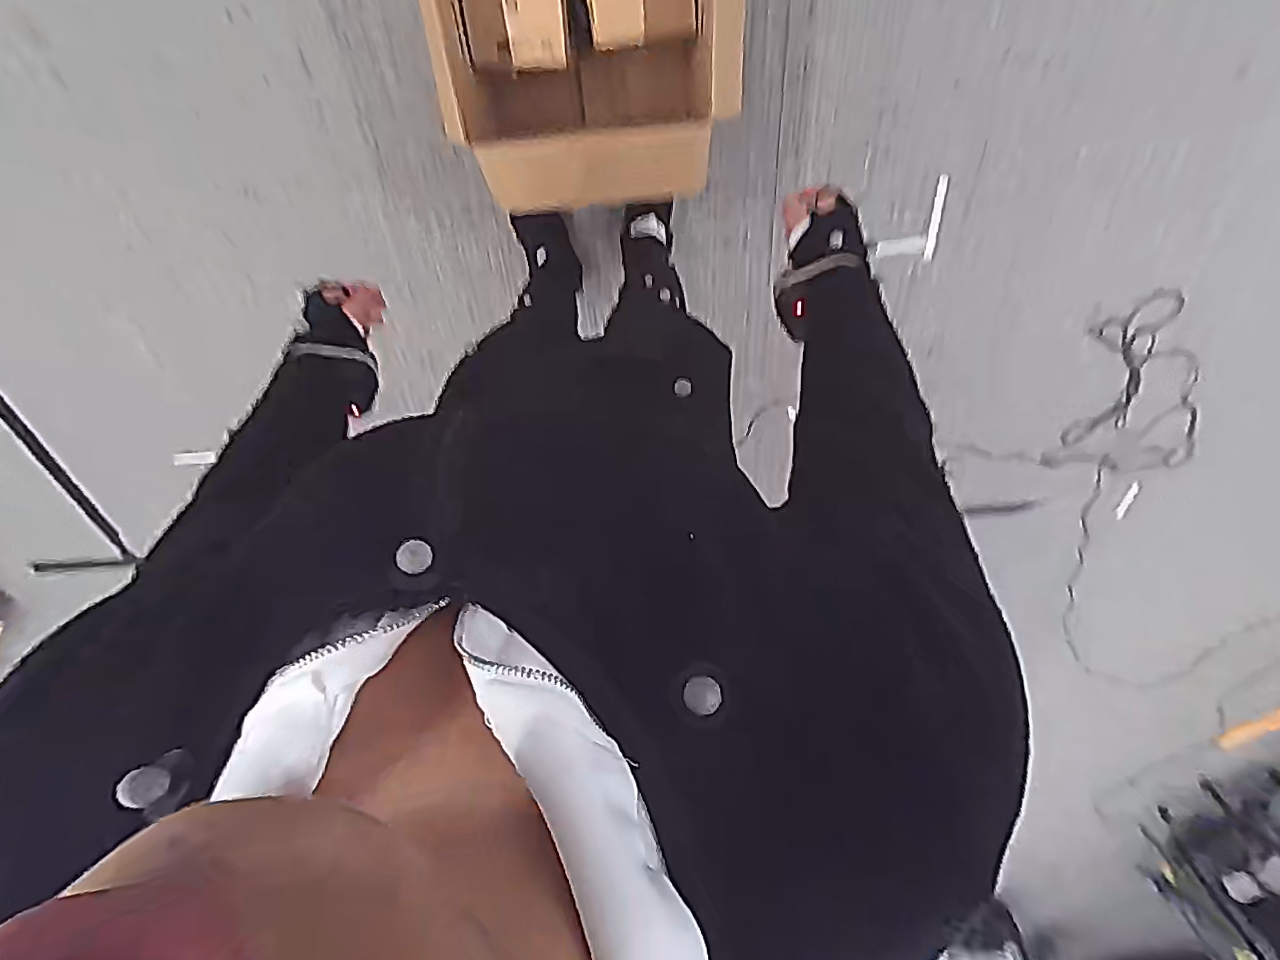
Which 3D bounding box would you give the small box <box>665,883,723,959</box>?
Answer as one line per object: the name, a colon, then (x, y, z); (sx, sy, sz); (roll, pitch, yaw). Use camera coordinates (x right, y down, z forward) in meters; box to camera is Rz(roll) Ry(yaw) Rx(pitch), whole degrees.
small box: (0.171, 1.443, 1.769); (0.168, 0.176, 0.179); (-3, 127, 0)
